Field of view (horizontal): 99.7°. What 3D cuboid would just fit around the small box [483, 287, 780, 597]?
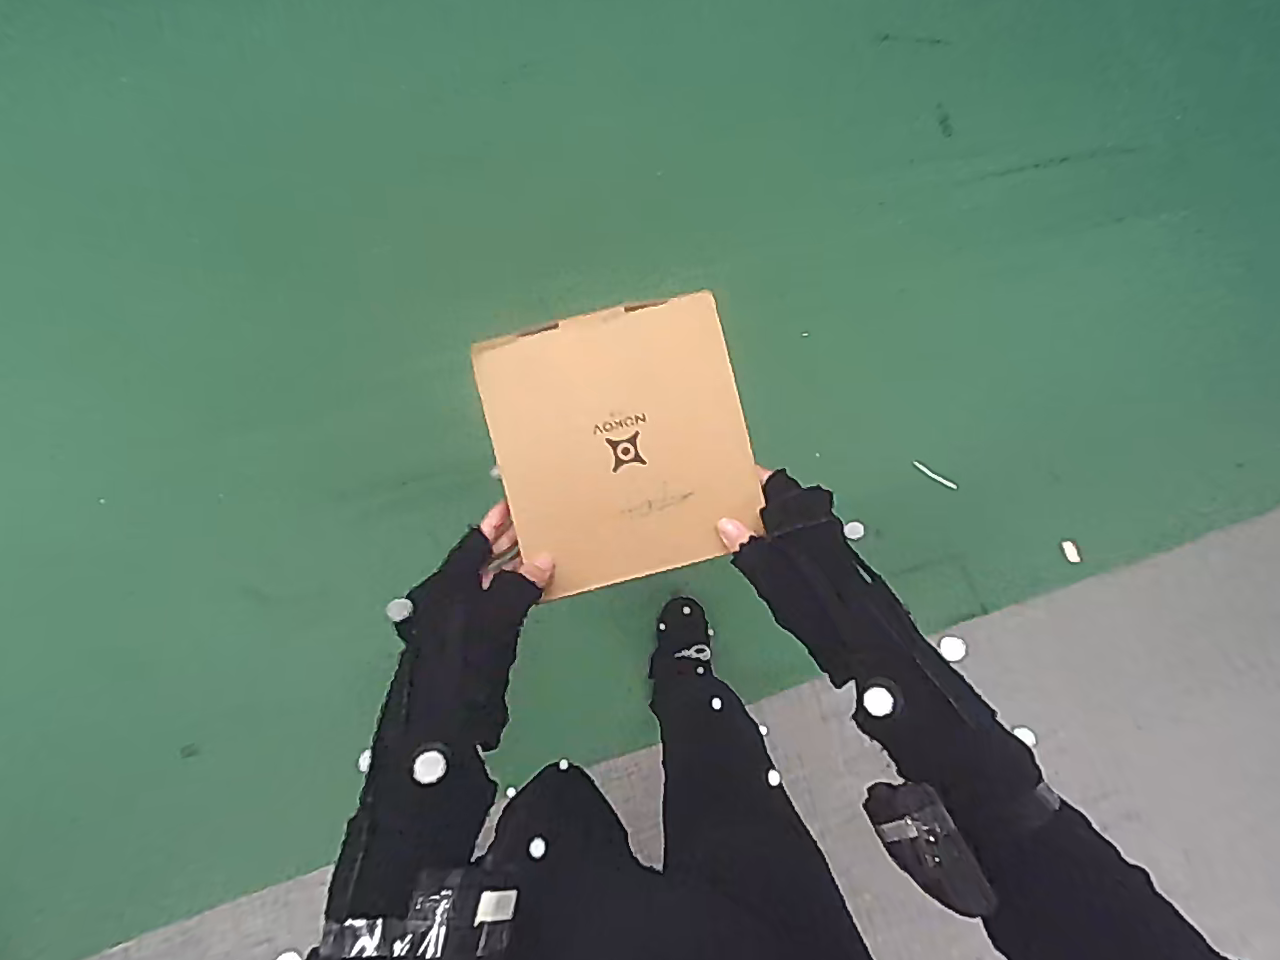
[{"bbox_3d":[-0.009,-0.025,0.427,0.168,0.176,0.179,-13,91,-2],"label":"small box"}]
